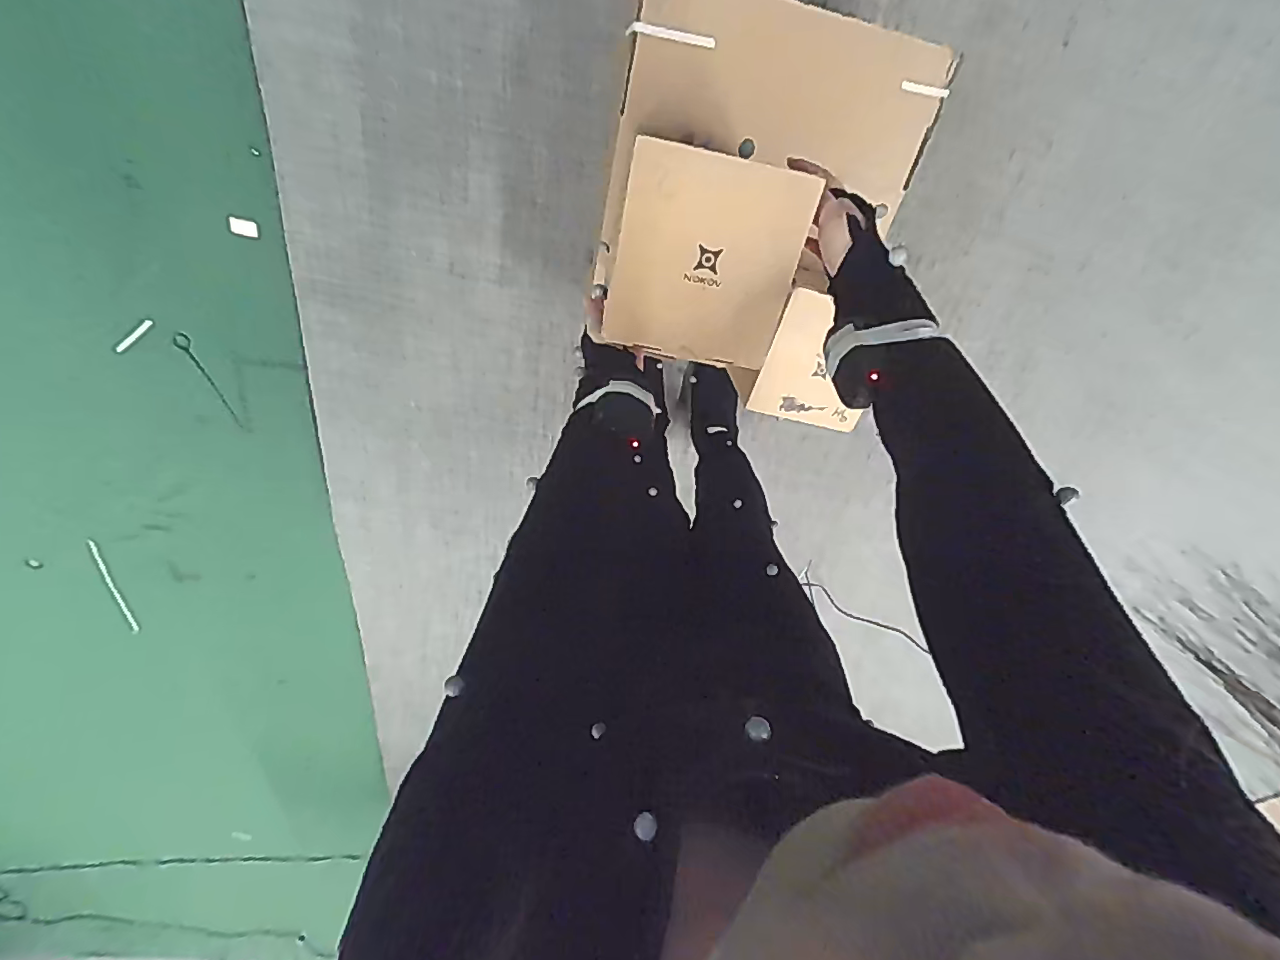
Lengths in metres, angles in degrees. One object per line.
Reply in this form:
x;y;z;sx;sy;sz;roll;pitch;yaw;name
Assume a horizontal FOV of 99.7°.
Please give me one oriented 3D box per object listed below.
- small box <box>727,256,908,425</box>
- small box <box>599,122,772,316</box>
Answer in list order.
0.237;-0.206;0.777;0.168;0.176;0.179;11;121;-9;small box
0.047;-0.333;0.689;0.168;0.176;0.179;10;121;-8;small box
